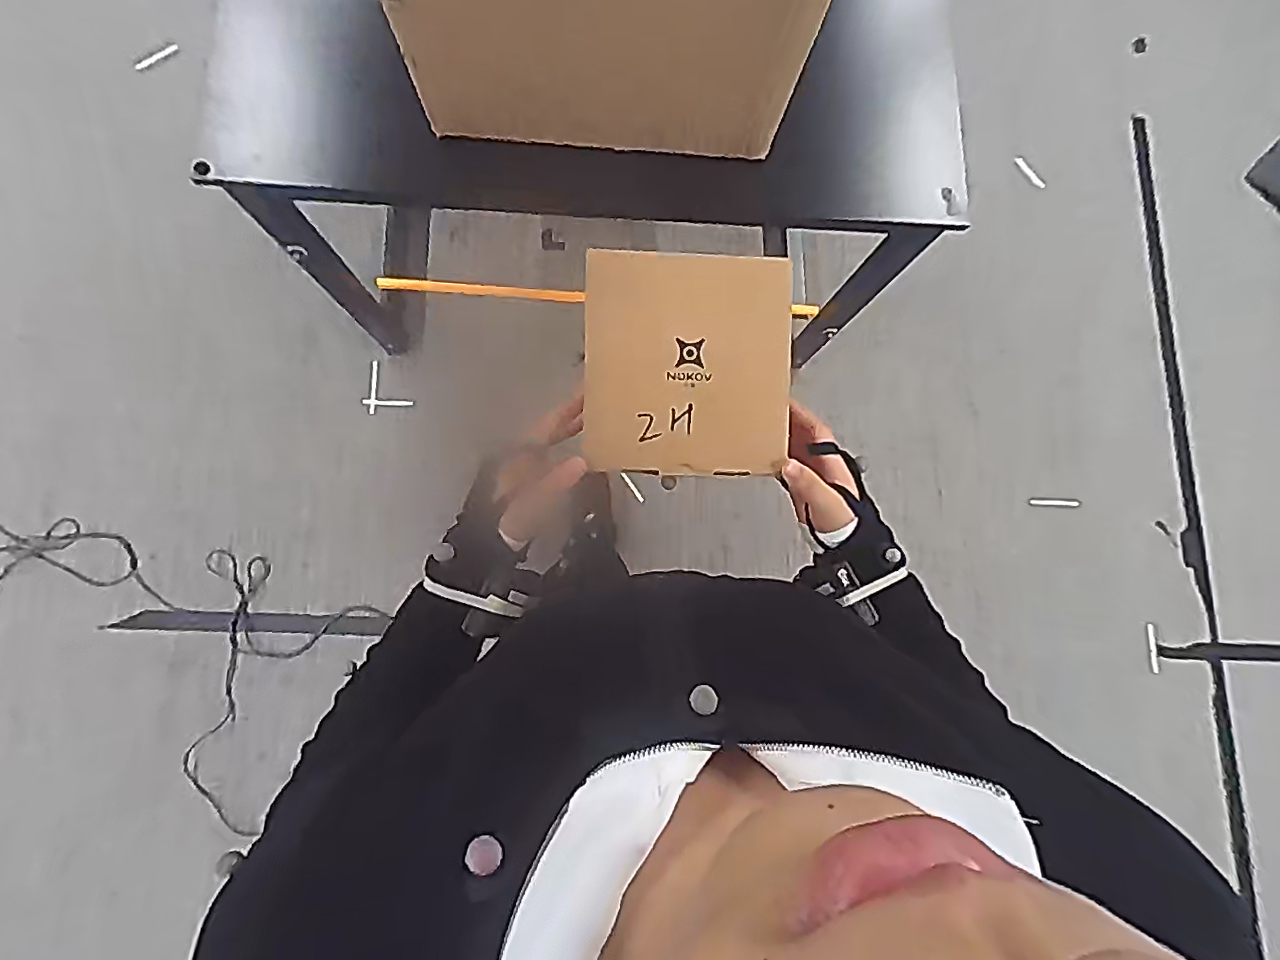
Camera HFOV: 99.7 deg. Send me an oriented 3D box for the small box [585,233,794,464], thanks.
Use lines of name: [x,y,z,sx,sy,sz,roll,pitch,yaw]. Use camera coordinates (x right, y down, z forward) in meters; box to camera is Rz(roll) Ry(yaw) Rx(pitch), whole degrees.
small box: [0.035,-0.106,0.509,0.168,0.176,0.179,1,91,-3]
